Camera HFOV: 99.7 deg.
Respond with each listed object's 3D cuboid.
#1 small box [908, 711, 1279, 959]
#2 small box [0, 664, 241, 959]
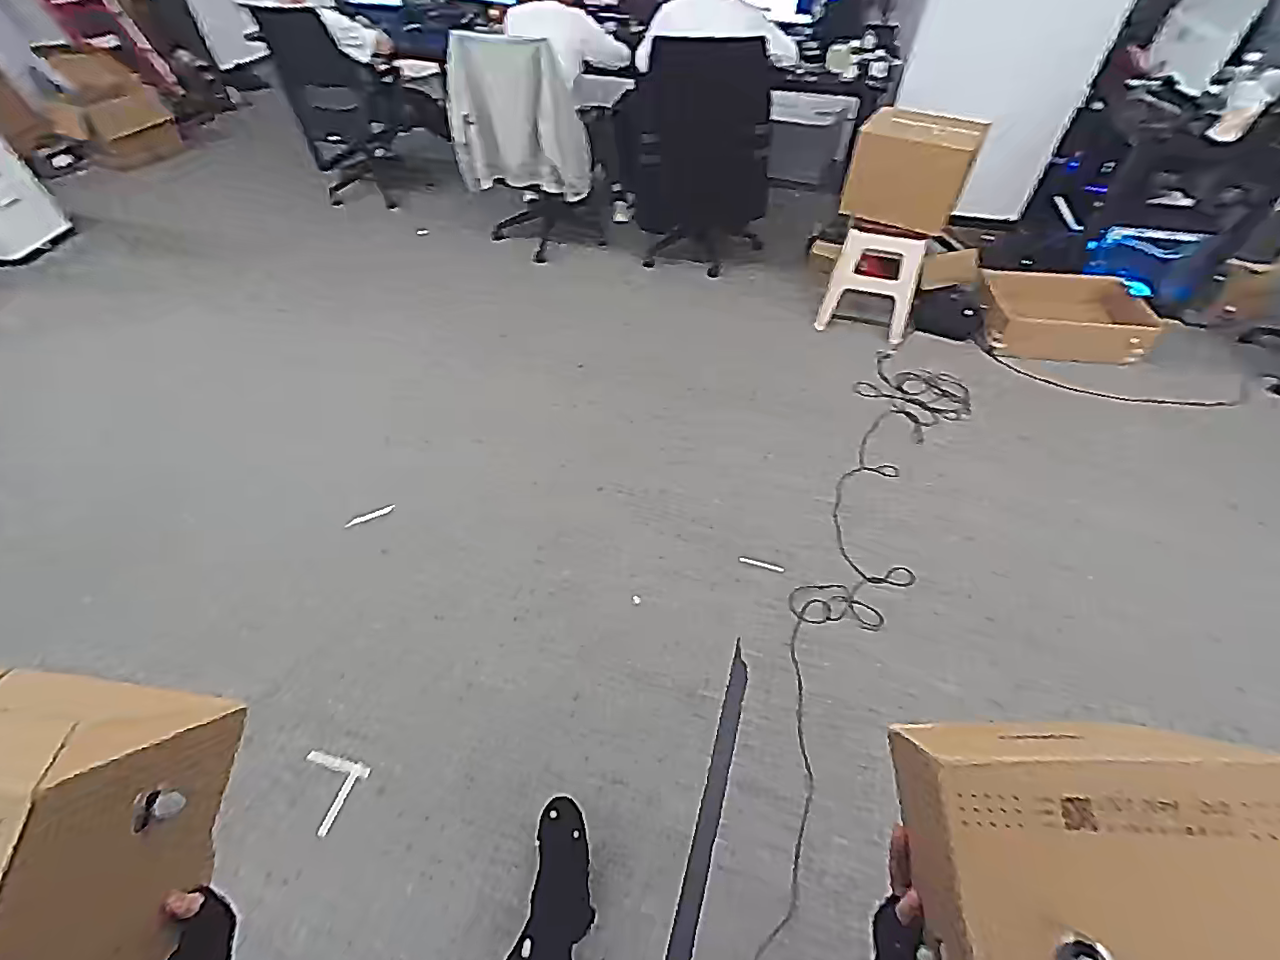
[{"bbox_3d":[0.267,0.233,0.314,0.168,0.179,0.176,-5,71,15],"label":"small box"},{"bbox_3d":[-0.366,0.202,0.289,0.168,0.179,0.176,12,77,-7],"label":"small box"}]
